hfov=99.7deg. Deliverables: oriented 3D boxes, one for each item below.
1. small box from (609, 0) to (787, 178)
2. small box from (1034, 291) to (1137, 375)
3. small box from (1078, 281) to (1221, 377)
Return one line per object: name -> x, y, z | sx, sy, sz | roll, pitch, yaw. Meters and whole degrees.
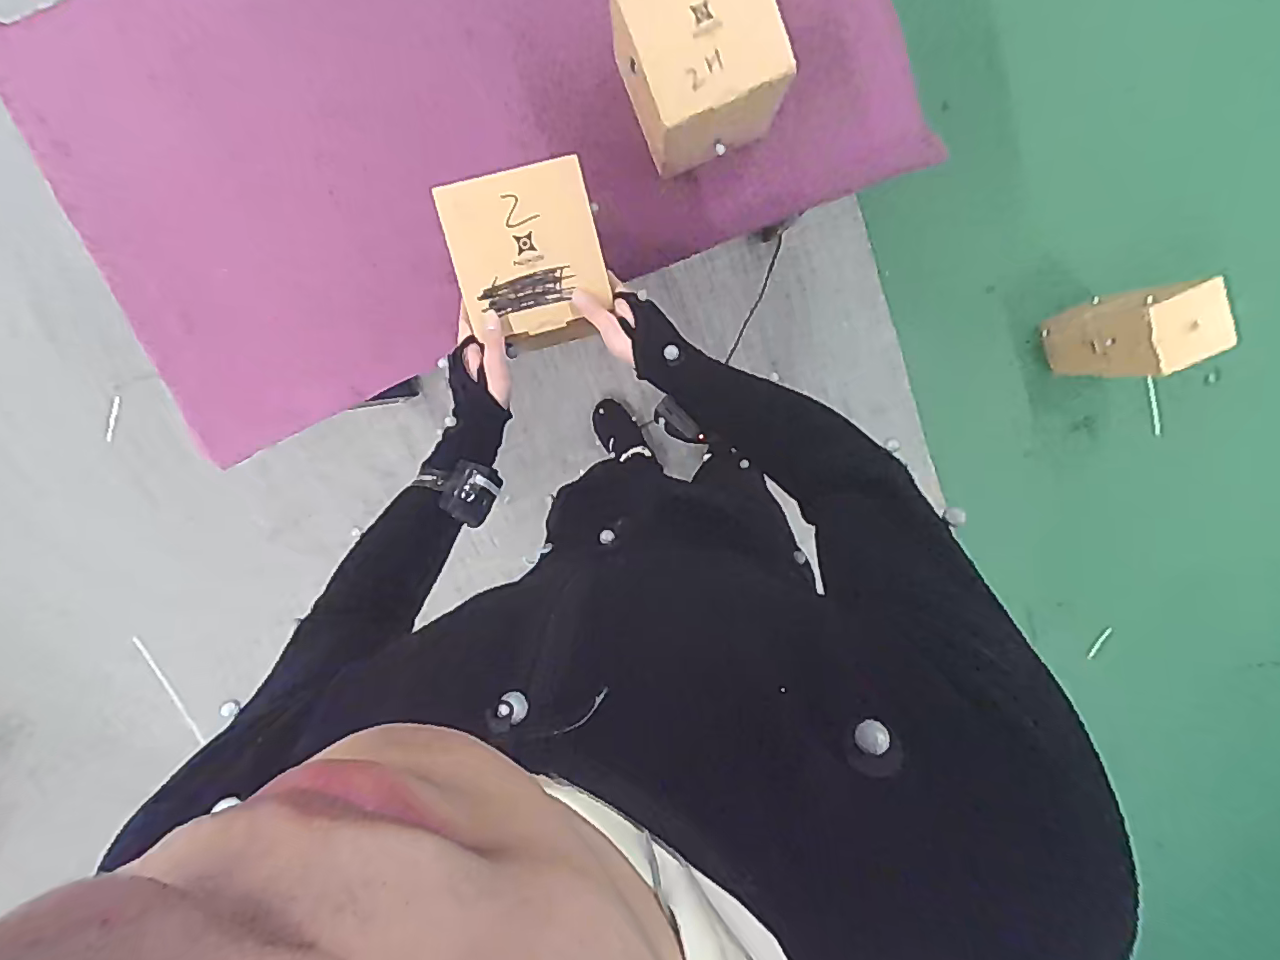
small box -> 0.064, -0.532, 0.695 | 0.168, 0.176, 0.179 | -22, 100, 4
small box -> 1.226, -0.395, 1.482 | 0.179, 0.176, 0.168 | -24, 101, 3
small box -> 1.238, -0.364, 1.323 | 0.179, 0.176, 0.168 | -24, 101, 4
